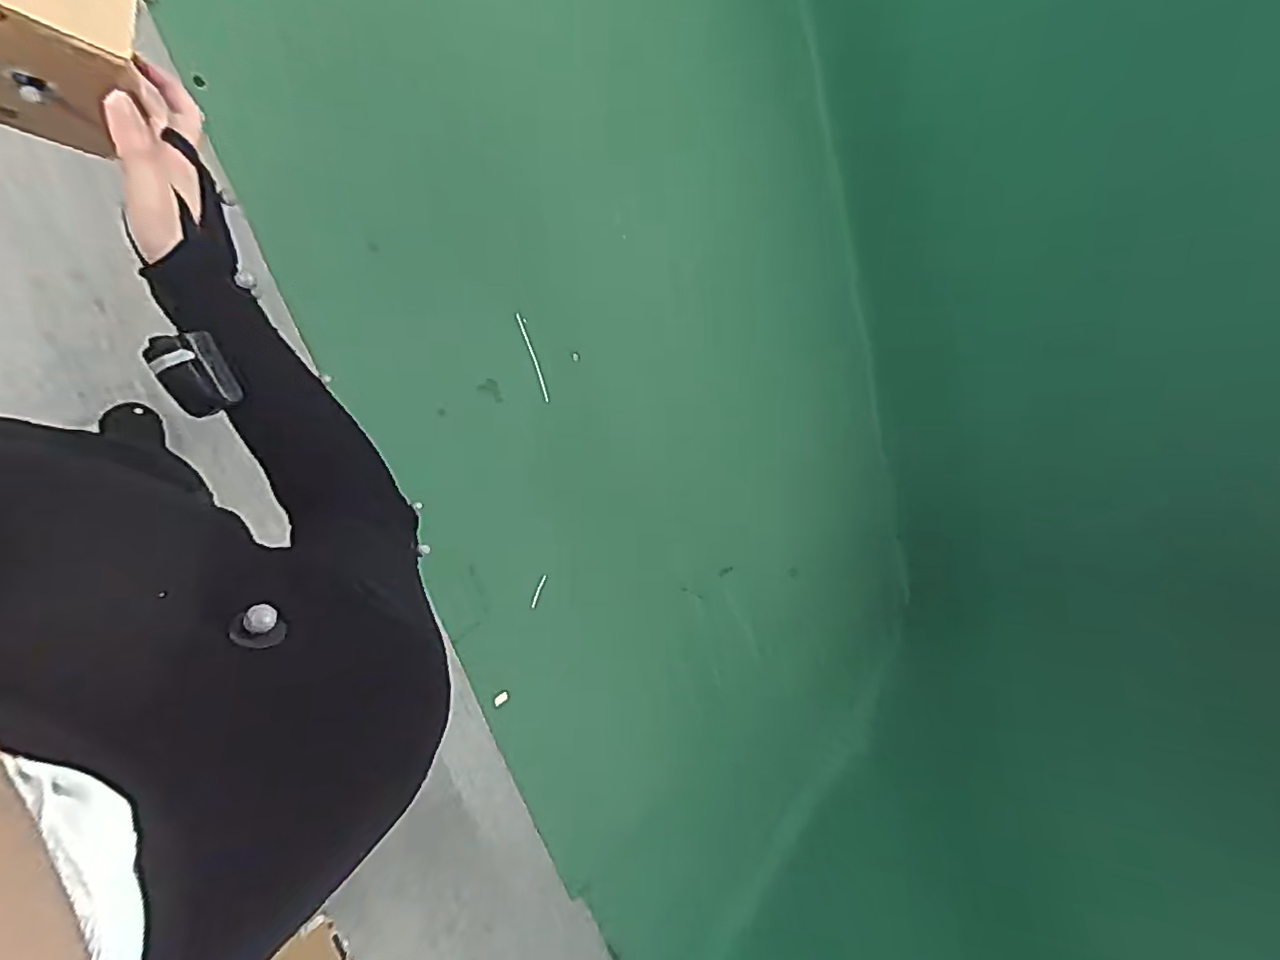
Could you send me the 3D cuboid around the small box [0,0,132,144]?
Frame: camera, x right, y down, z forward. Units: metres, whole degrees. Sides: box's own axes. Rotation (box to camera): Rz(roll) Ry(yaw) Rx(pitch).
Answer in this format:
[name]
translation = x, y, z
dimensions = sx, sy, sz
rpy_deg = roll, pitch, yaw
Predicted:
[small box]
translation = -0.457, -0.373, 0.364
dimensions = 0.168, 0.176, 0.179
rpy_deg = 4, 87, -48
